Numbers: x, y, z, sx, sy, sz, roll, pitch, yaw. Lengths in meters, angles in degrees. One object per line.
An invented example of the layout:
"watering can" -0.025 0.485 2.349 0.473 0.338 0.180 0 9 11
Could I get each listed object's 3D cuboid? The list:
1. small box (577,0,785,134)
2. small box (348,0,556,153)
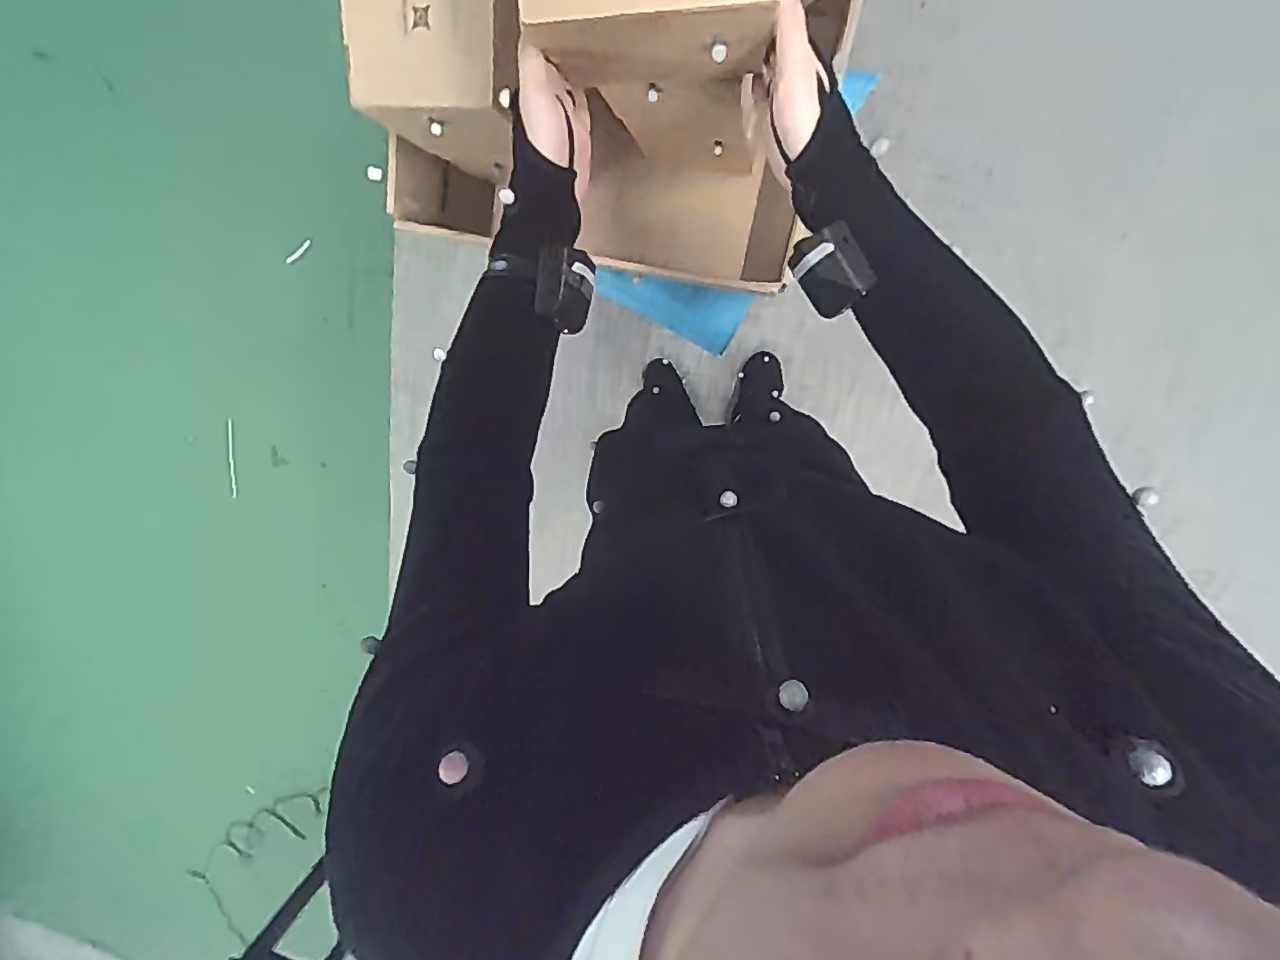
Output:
"small box" 0.054 -0.505 0.587 0.179 0.176 0.168 17 108 7
"small box" -0.215 -0.508 0.643 0.179 0.176 0.168 8 106 9
